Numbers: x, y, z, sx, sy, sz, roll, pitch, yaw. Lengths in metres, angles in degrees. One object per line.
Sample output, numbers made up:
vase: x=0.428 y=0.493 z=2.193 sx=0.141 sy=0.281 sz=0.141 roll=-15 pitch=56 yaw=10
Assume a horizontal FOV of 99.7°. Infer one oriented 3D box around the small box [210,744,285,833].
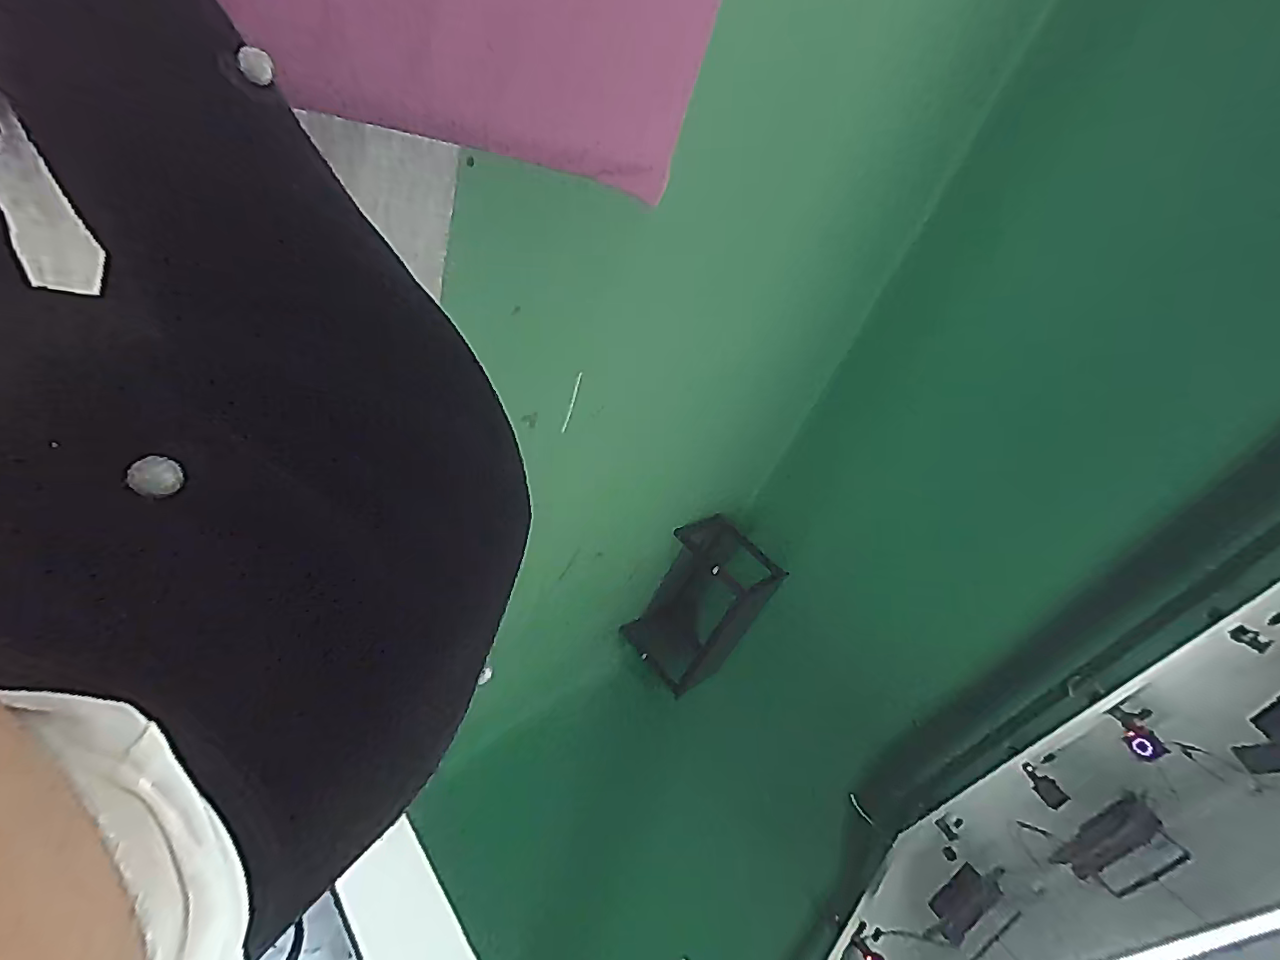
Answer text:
small box: x=-1.304 y=1.015 z=1.796 sx=0.168 sy=0.176 sz=0.179 roll=-16 pitch=141 yaw=-45
